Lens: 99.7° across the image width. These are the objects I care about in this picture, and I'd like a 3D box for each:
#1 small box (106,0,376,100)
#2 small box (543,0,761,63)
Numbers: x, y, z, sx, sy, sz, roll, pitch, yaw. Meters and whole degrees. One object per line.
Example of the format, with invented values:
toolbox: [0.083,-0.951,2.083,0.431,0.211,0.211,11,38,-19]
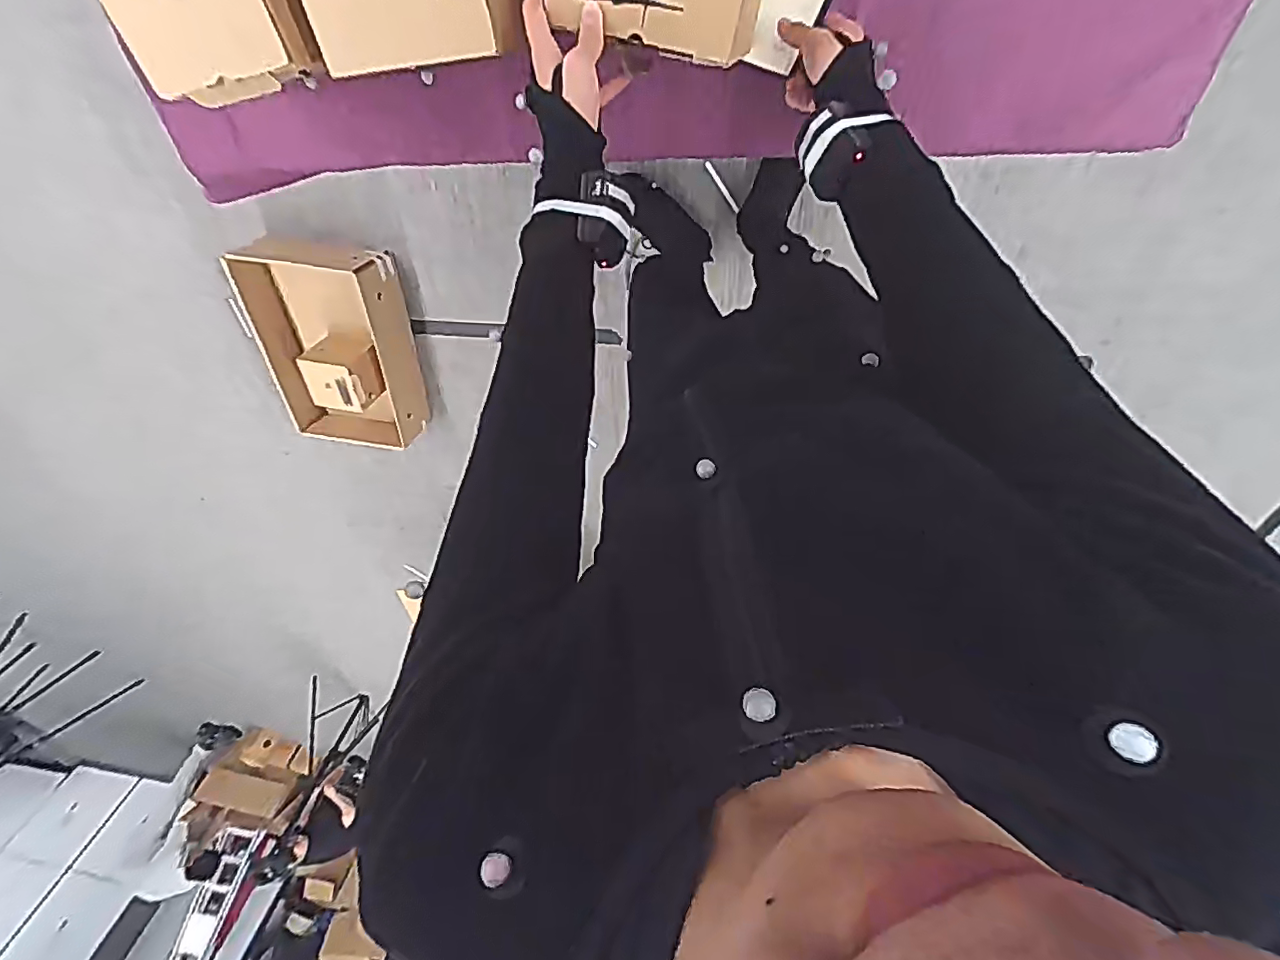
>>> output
small box: [-0.405,-0.508,0.539,0.168,0.176,0.179,-2,130,14]
small box: [0.029,-0.479,0.452,0.168,0.176,0.179,17,133,5]
